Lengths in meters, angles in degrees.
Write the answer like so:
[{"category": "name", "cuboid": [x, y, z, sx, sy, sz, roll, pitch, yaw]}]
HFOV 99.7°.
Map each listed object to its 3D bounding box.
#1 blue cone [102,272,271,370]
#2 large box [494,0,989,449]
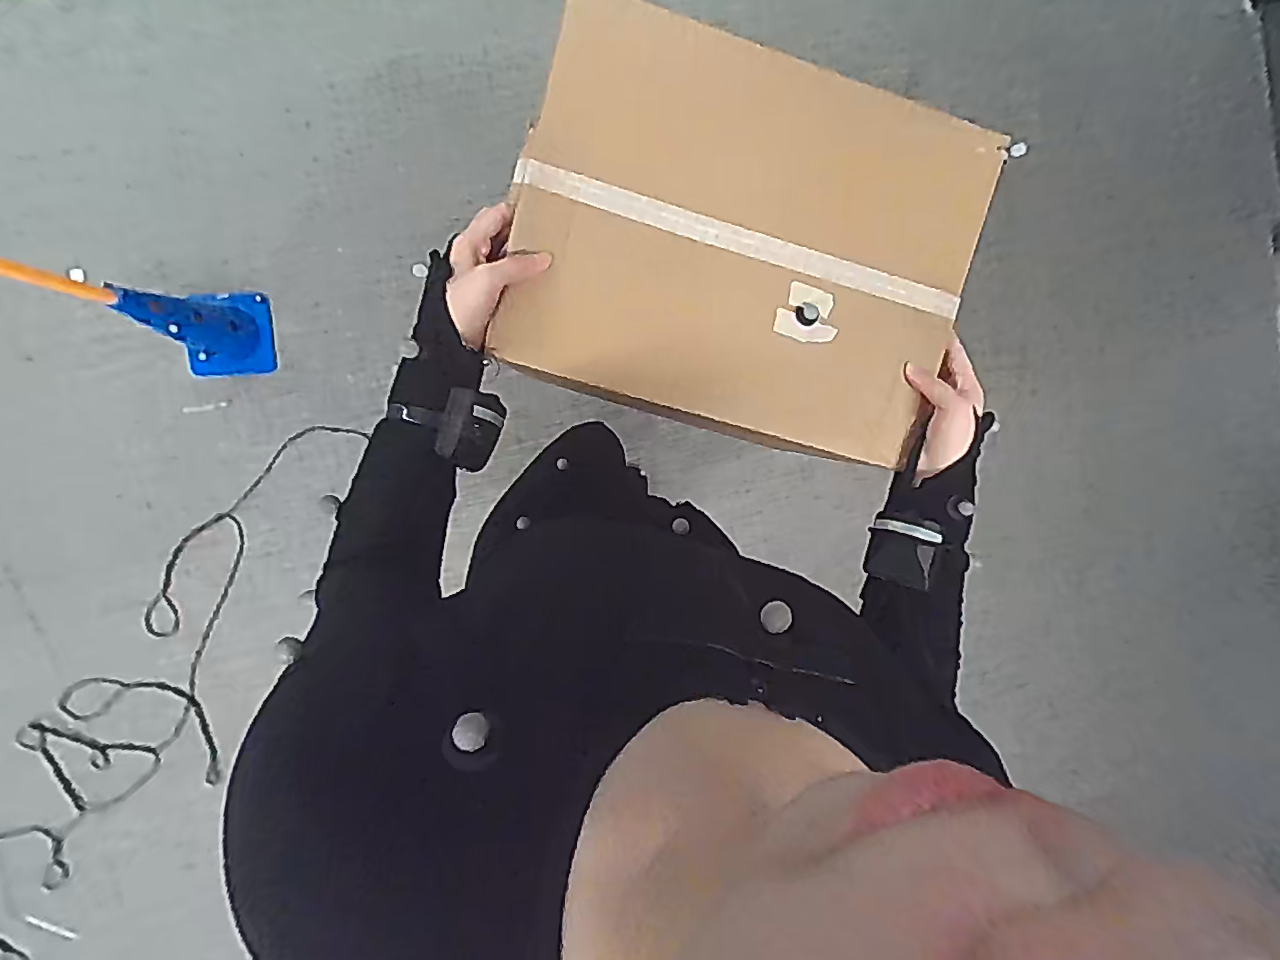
[{"category": "blue cone", "cuboid": [-1.001, -0.365, 1.184, 0.193, 0.380, 0.192, -3, 93, -7]}, {"category": "large box", "cuboid": [0.079, -0.236, 0.630, 0.408, 0.320, 0.320, 14, 96, -8]}]
